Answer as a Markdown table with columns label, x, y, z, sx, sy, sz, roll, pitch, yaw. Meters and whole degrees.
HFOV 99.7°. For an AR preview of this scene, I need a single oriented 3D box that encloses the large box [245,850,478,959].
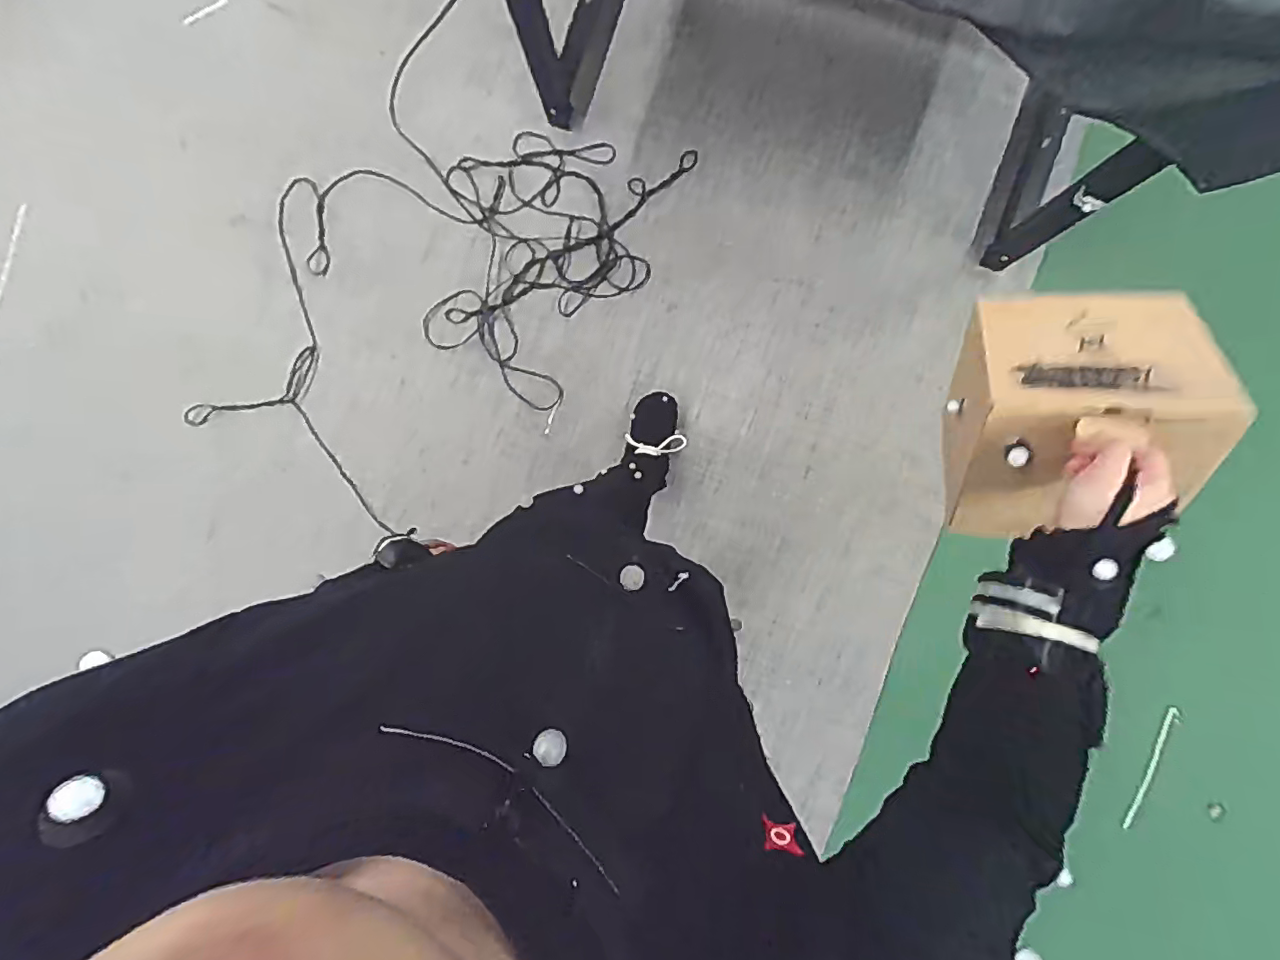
| label | x | y | z | sx | sy | sz | roll | pitch | yaw |
| --- | --- | --- | --- | --- | --- | --- | --- | --- | --- |
| large box | -0.650 | 1.161 | 1.251 | 0.408 | 0.320 | 0.320 | 19 | 91 | 4 |
